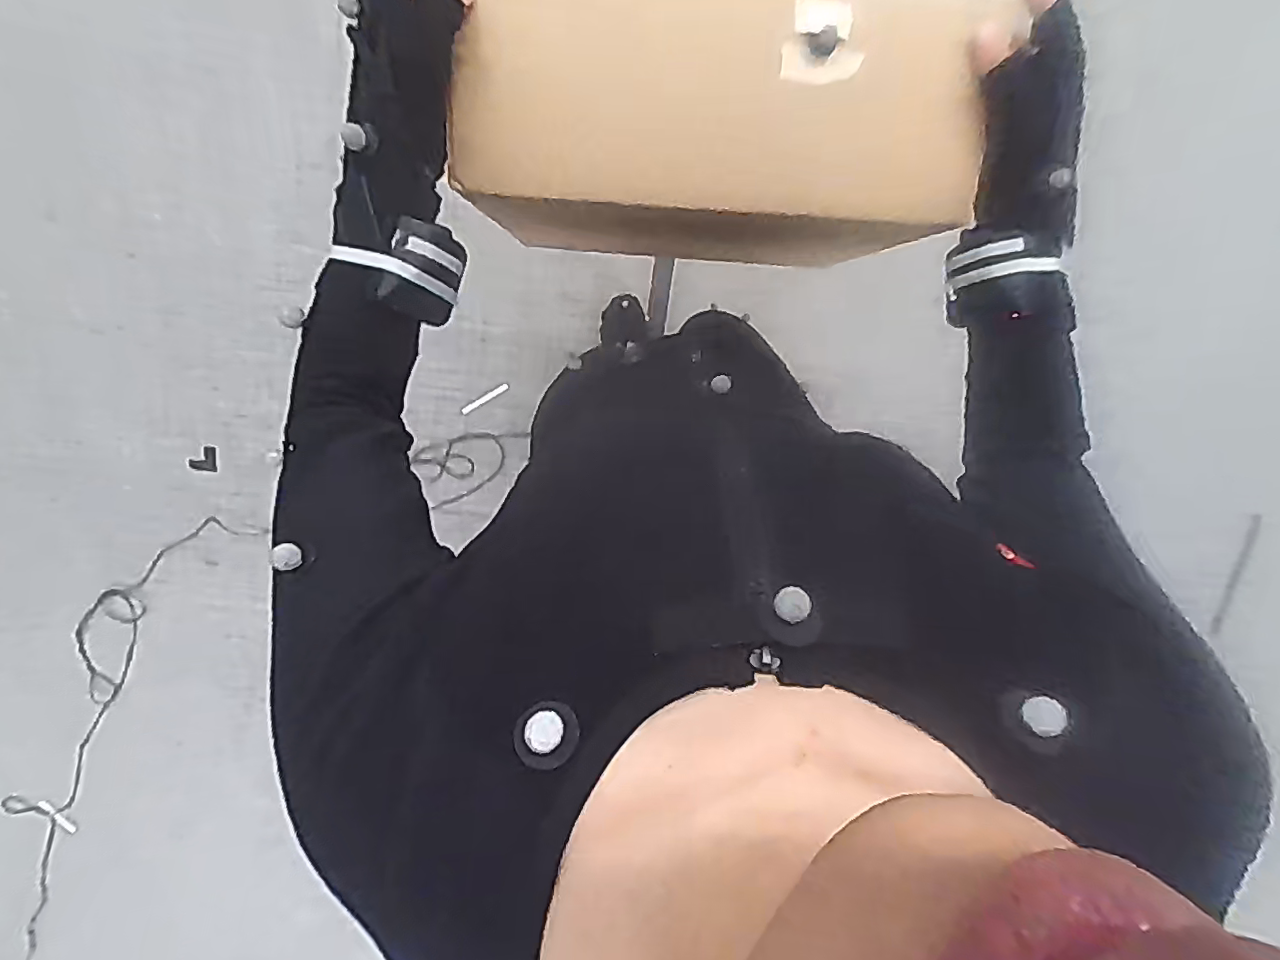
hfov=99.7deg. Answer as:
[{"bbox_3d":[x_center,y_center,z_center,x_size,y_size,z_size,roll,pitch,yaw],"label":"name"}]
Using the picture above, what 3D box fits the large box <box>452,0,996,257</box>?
[{"bbox_3d":[0.056,-0.408,0.527,0.408,0.320,0.320,2,106,-4],"label":"large box"}]
